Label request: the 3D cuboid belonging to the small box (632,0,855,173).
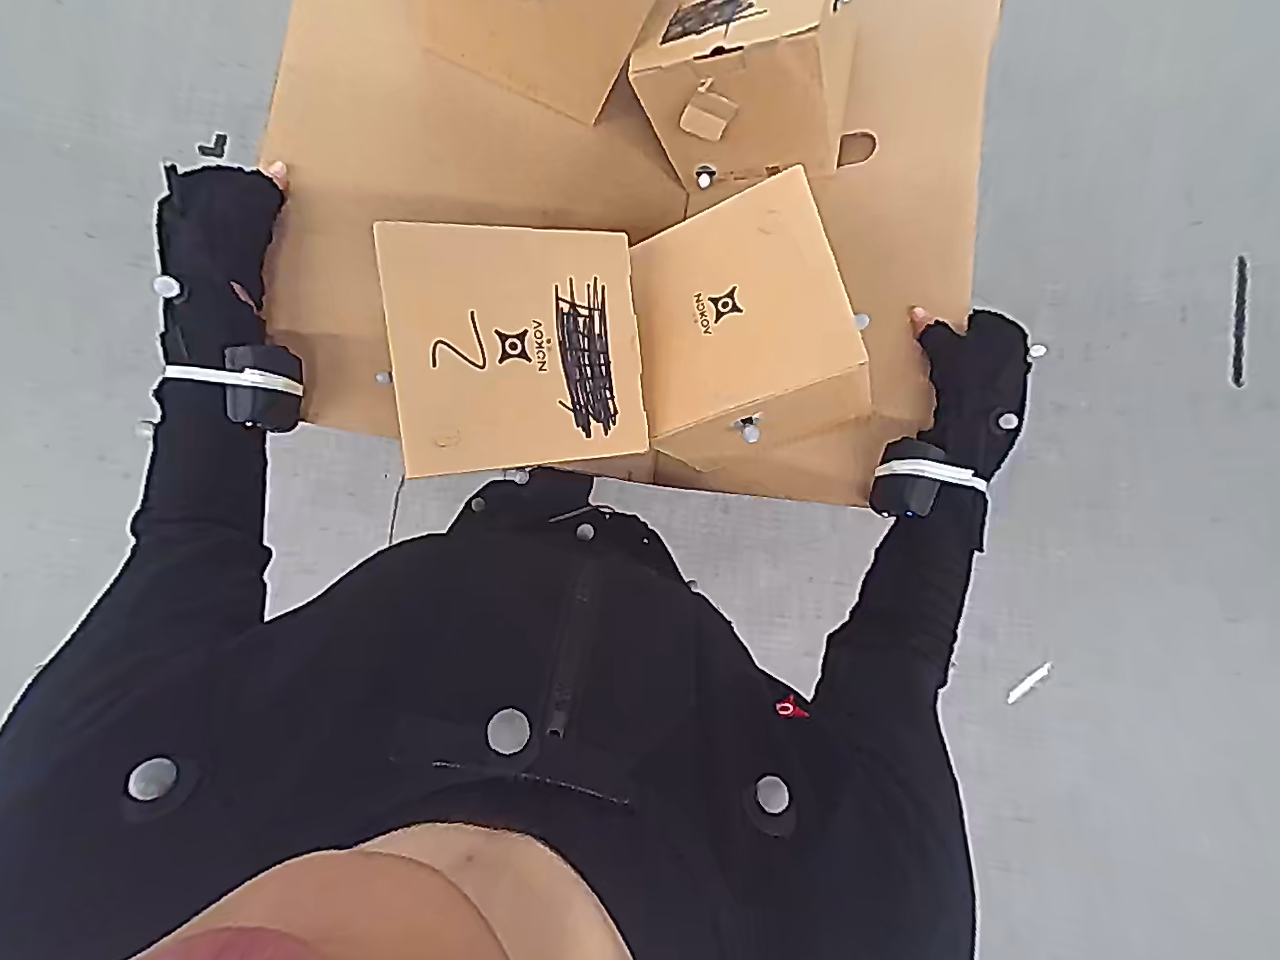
[{"bbox_3d":[0.112,-0.430,0.529,0.168,0.176,0.179,8,83,25],"label":"small box"}]
